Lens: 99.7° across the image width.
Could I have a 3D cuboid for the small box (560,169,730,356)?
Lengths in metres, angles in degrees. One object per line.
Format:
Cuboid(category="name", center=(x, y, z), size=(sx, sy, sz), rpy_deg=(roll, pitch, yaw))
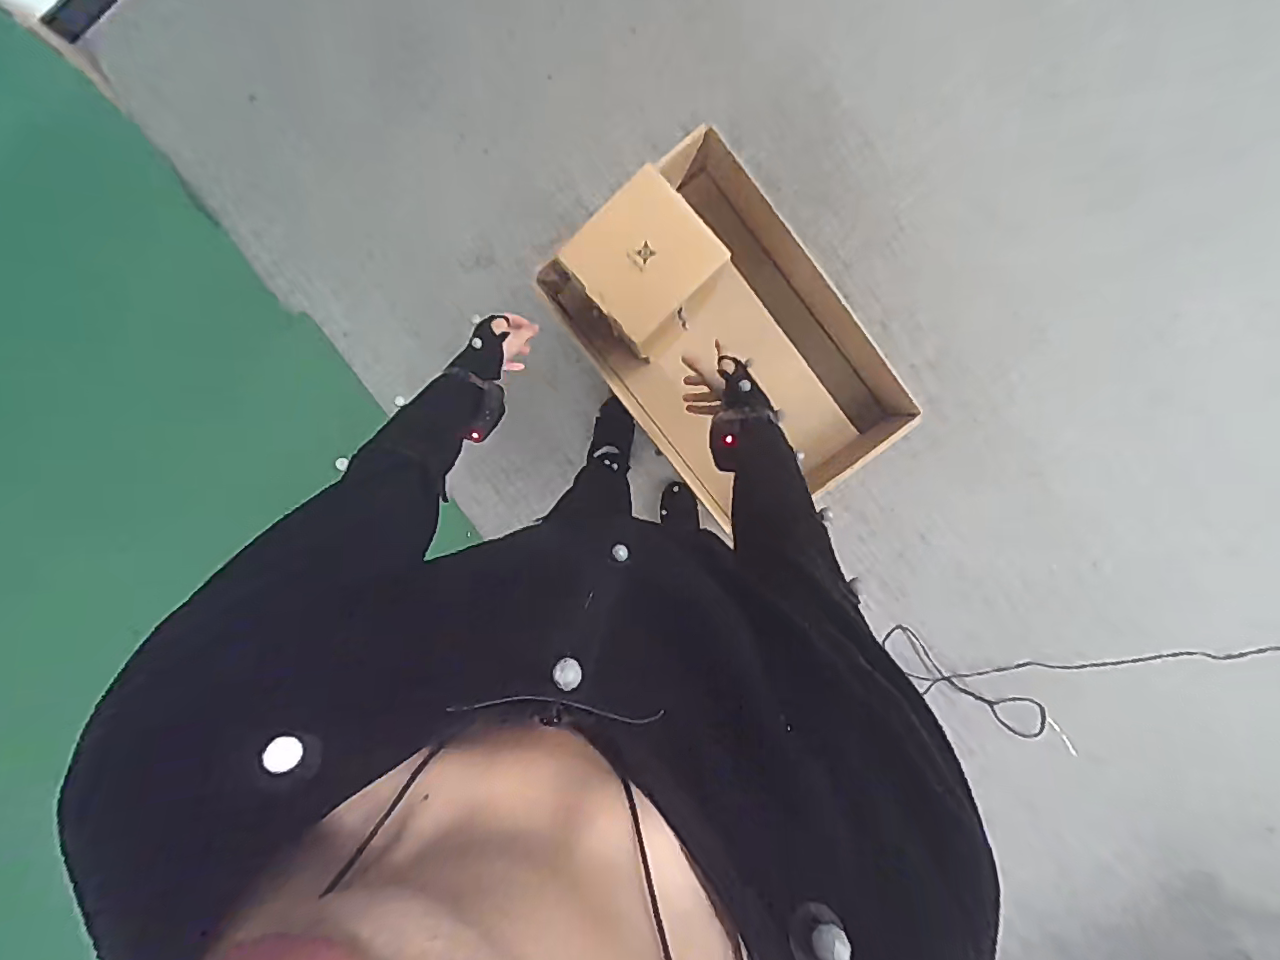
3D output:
Cuboid(category="small box", center=(0.008, -0.308, 0.808), size=(0.179, 0.176, 0.168), rpy_deg=(-42, 93, 8))
